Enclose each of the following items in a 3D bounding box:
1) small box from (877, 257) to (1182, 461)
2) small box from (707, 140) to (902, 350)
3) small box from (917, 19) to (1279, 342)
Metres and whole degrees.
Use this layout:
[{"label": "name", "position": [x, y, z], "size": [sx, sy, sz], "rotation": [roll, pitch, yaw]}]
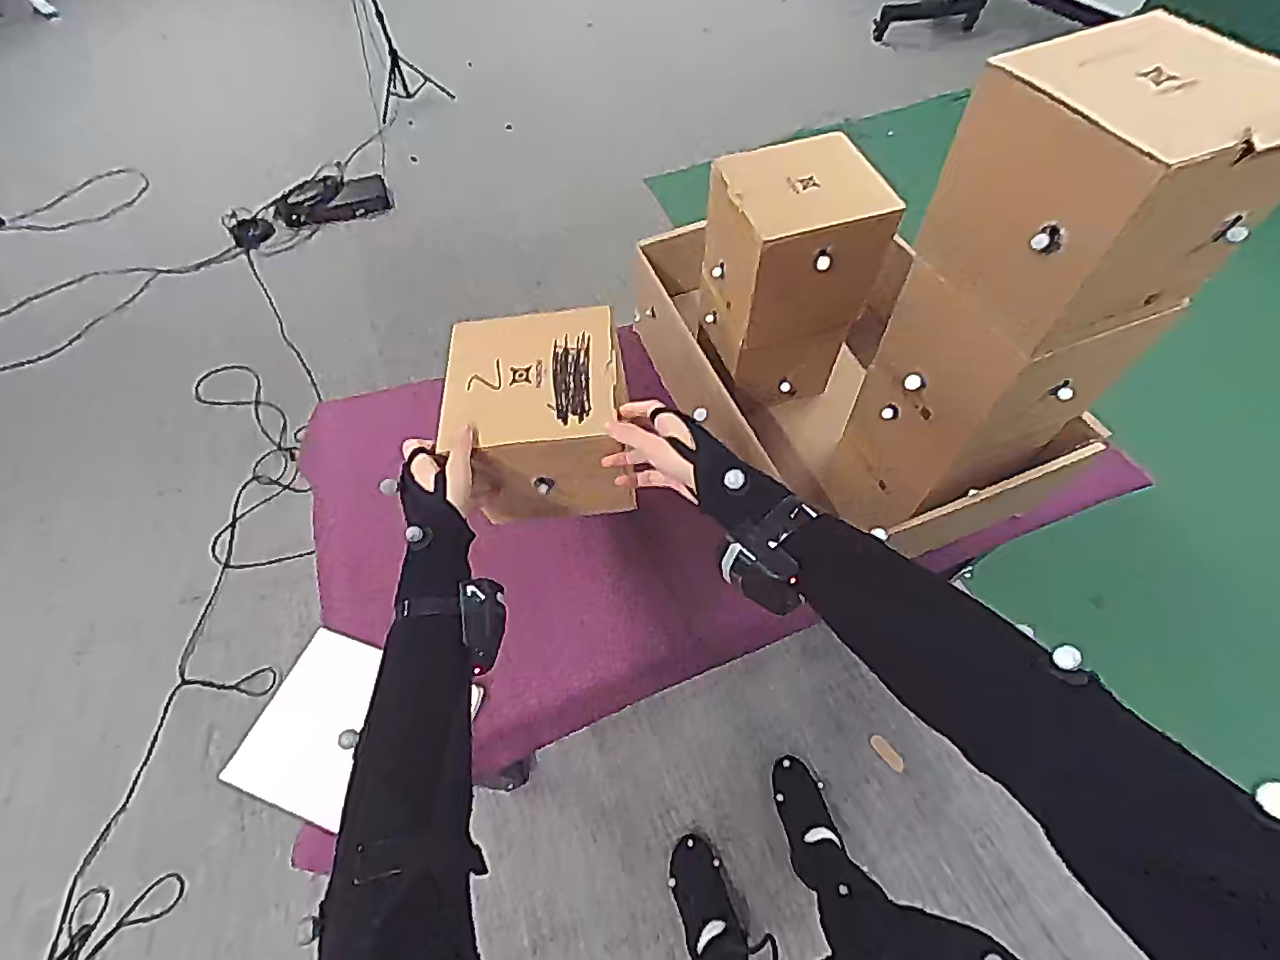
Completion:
[{"label": "small box", "position": [0.396, -0.150, 0.592], "size": [0.179, 0.176, 0.168], "rotation": [-20, 58, -6]}, {"label": "small box", "position": [0.196, -0.299, 0.706], "size": [0.179, 0.176, 0.168], "rotation": [-16, 61, -4]}, {"label": "small box", "position": [0.378, -0.240, 0.457], "size": [0.168, 0.176, 0.179], "rotation": [-19, 58, -6]}]
